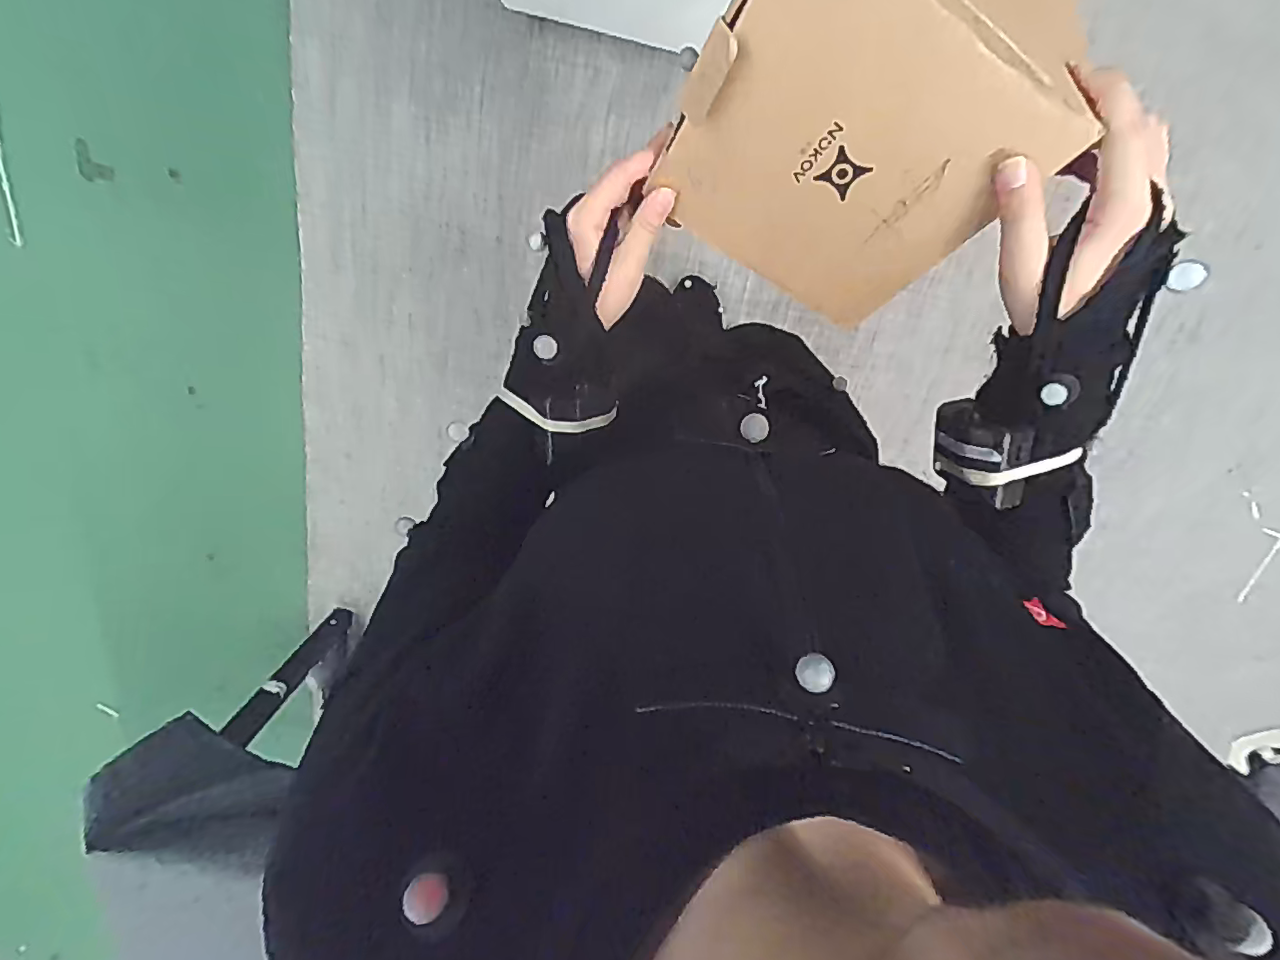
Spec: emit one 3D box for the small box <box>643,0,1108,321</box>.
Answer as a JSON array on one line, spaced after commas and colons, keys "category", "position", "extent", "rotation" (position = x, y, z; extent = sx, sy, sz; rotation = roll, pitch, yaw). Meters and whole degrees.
[{"category": "small box", "position": [0.129, -0.242, 0.332], "extent": [0.179, 0.176, 0.168], "rotation": [24, 152, -15]}]
